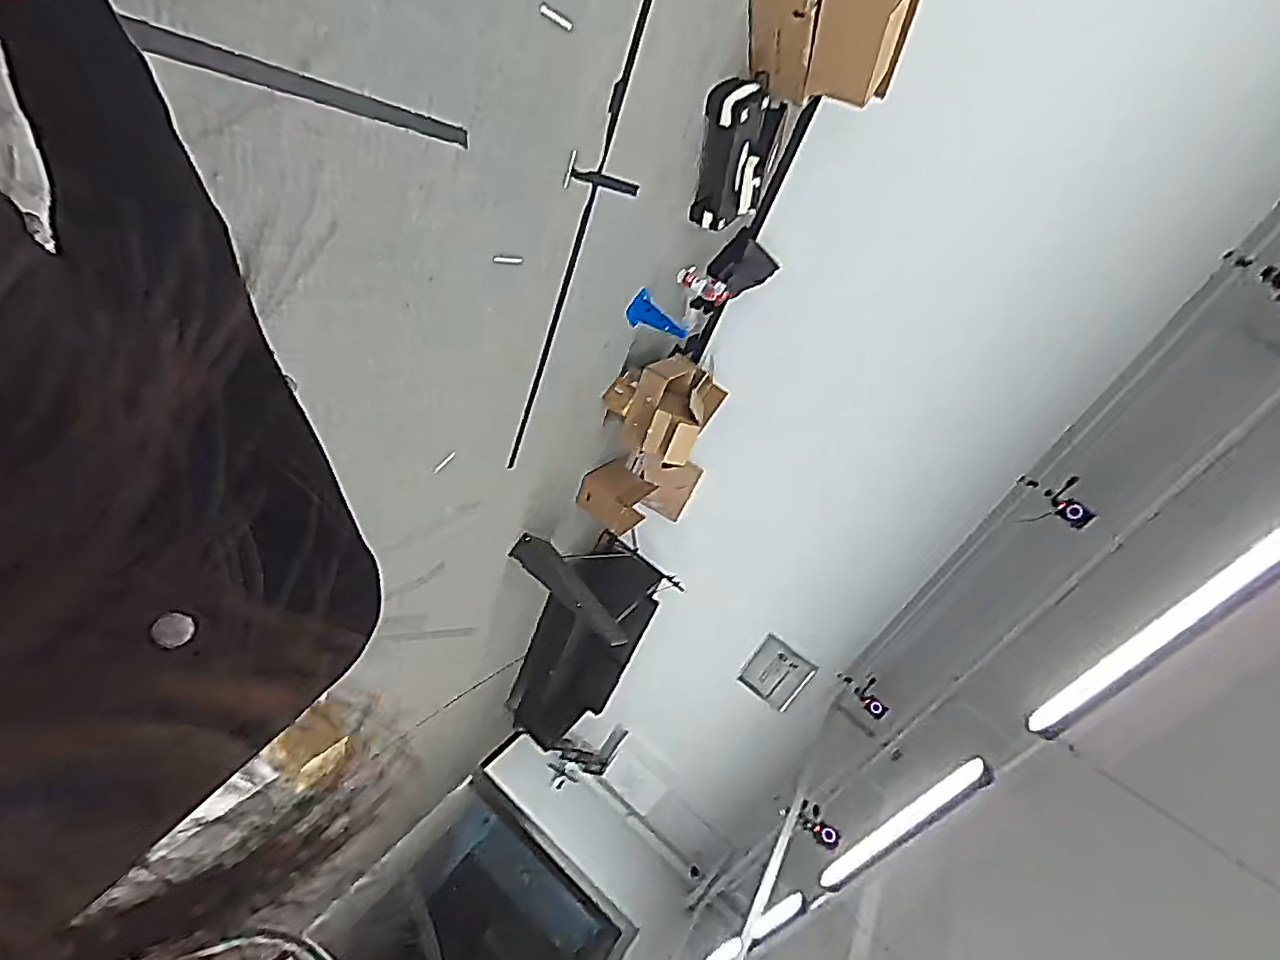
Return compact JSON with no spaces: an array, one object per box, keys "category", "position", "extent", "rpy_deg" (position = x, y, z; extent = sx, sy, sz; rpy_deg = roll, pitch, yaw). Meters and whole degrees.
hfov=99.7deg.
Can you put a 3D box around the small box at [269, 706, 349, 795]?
[{"category":"small box","position":[-1.114,0.900,1.815],"extent":[0.168,0.176,0.179],"rpy_deg":[-28,150,-54]}]
